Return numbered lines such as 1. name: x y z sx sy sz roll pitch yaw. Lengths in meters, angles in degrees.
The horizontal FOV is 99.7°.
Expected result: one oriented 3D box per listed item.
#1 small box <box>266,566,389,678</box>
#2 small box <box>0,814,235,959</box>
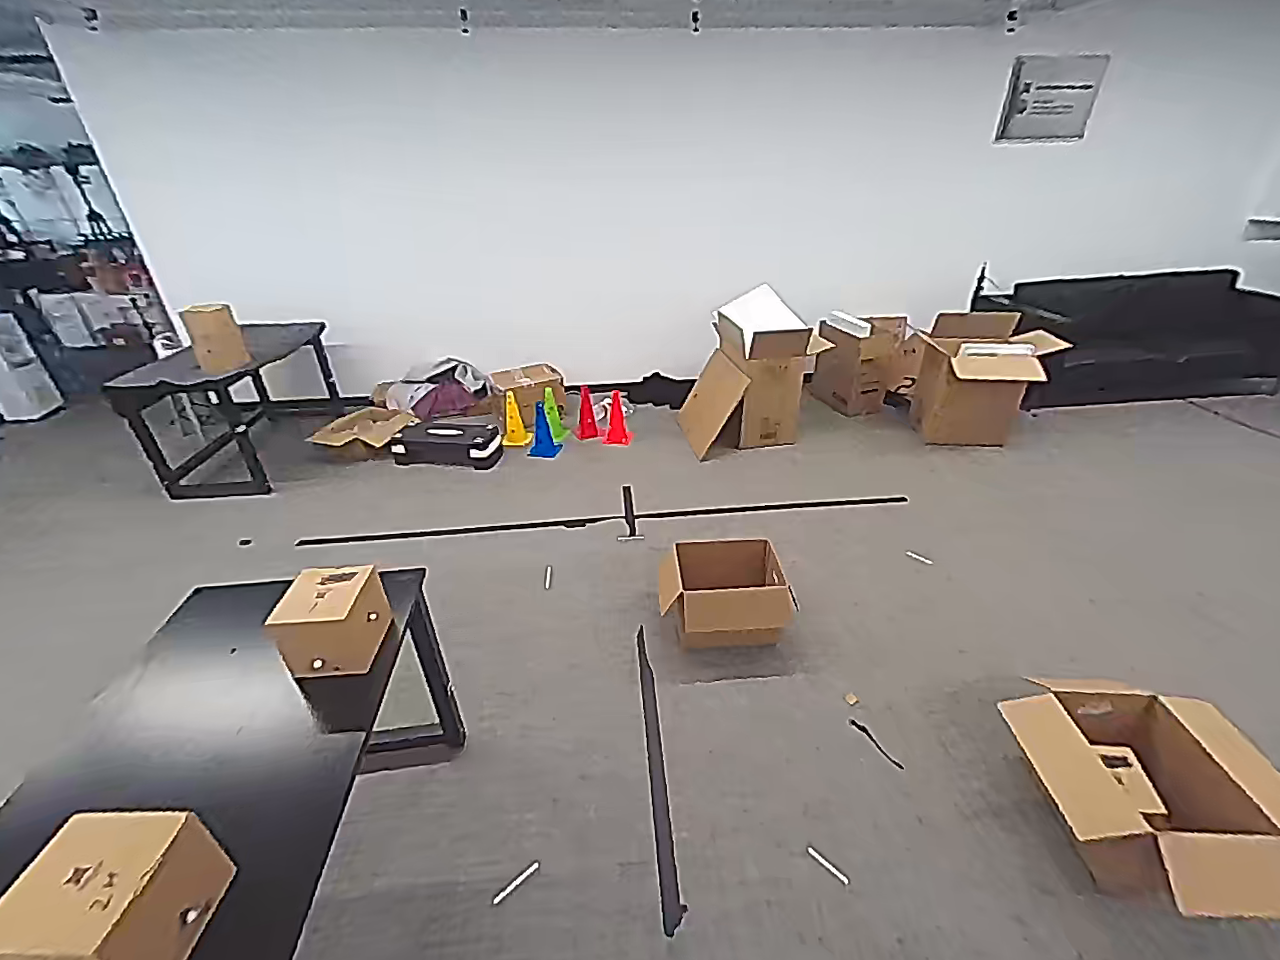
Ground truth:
1. small box: -0.686 0.317 1.215 0.168 0.176 0.179 -4 32 -2
2. small box: -0.724 0.593 0.748 0.179 0.176 0.168 -1 31 1
